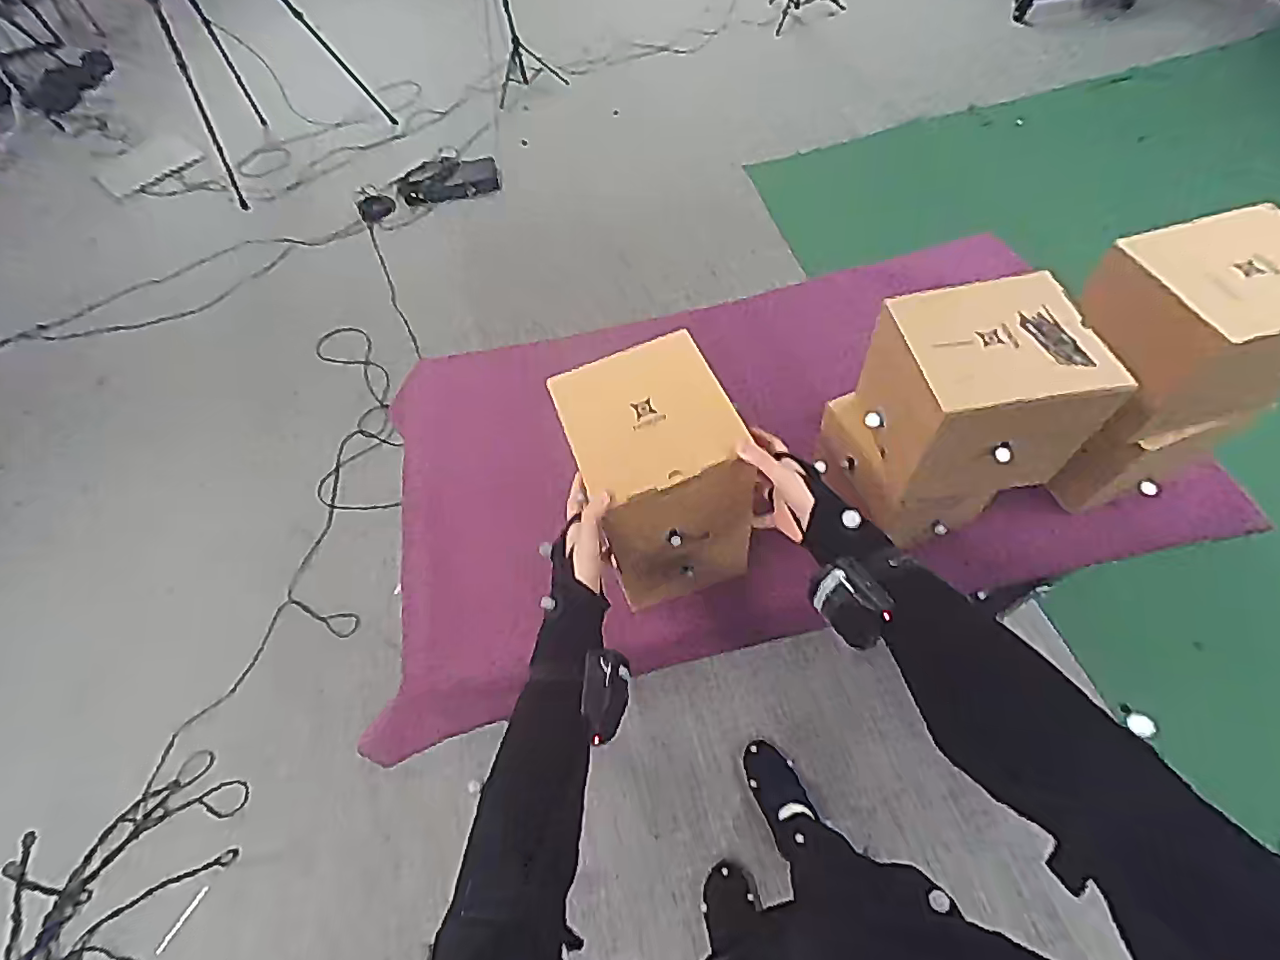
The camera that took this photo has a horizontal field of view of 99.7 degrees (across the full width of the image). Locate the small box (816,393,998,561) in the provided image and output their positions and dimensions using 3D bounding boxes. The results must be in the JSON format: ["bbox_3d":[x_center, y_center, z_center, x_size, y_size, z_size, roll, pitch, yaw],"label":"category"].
[{"bbox_3d":[0.365,-0.017,0.749,0.168,0.176,0.179,-21,57,-4],"label":"small box"}]

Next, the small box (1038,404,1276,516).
[{"bbox_3d":[0.656,-0.076,0.741,0.179,0.176,0.168,-18,57,-3],"label":"small box"}]

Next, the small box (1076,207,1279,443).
[{"bbox_3d":[0.622,-0.166,0.607,0.179,0.176,0.168,-14,57,1],"label":"small box"}]

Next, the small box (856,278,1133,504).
[{"bbox_3d":[0.363,-0.091,0.599,0.179,0.176,0.168,-8,56,4],"label":"small box"}]
